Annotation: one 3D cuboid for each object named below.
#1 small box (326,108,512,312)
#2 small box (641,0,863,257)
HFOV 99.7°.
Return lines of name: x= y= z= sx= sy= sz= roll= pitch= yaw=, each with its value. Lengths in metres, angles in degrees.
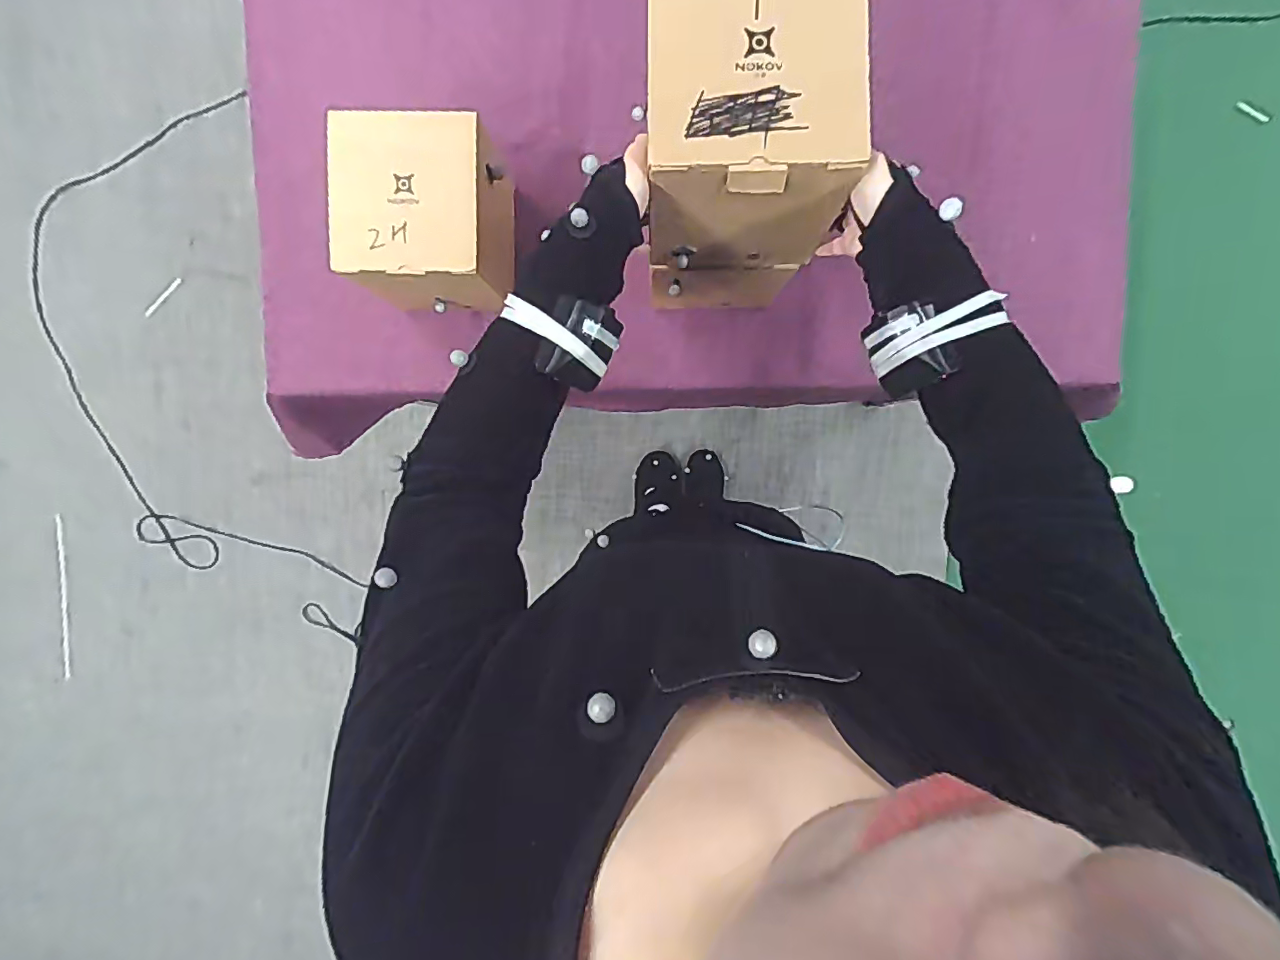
small box: x=-0.261 y=-0.321 z=0.672 sx=0.168 sy=0.176 sz=0.179 roll=1 pitch=94 yaw=1
small box: x=0.087 y=-0.316 z=0.483 sx=0.168 sy=0.176 sz=0.179 roll=0 pitch=87 yaw=1
